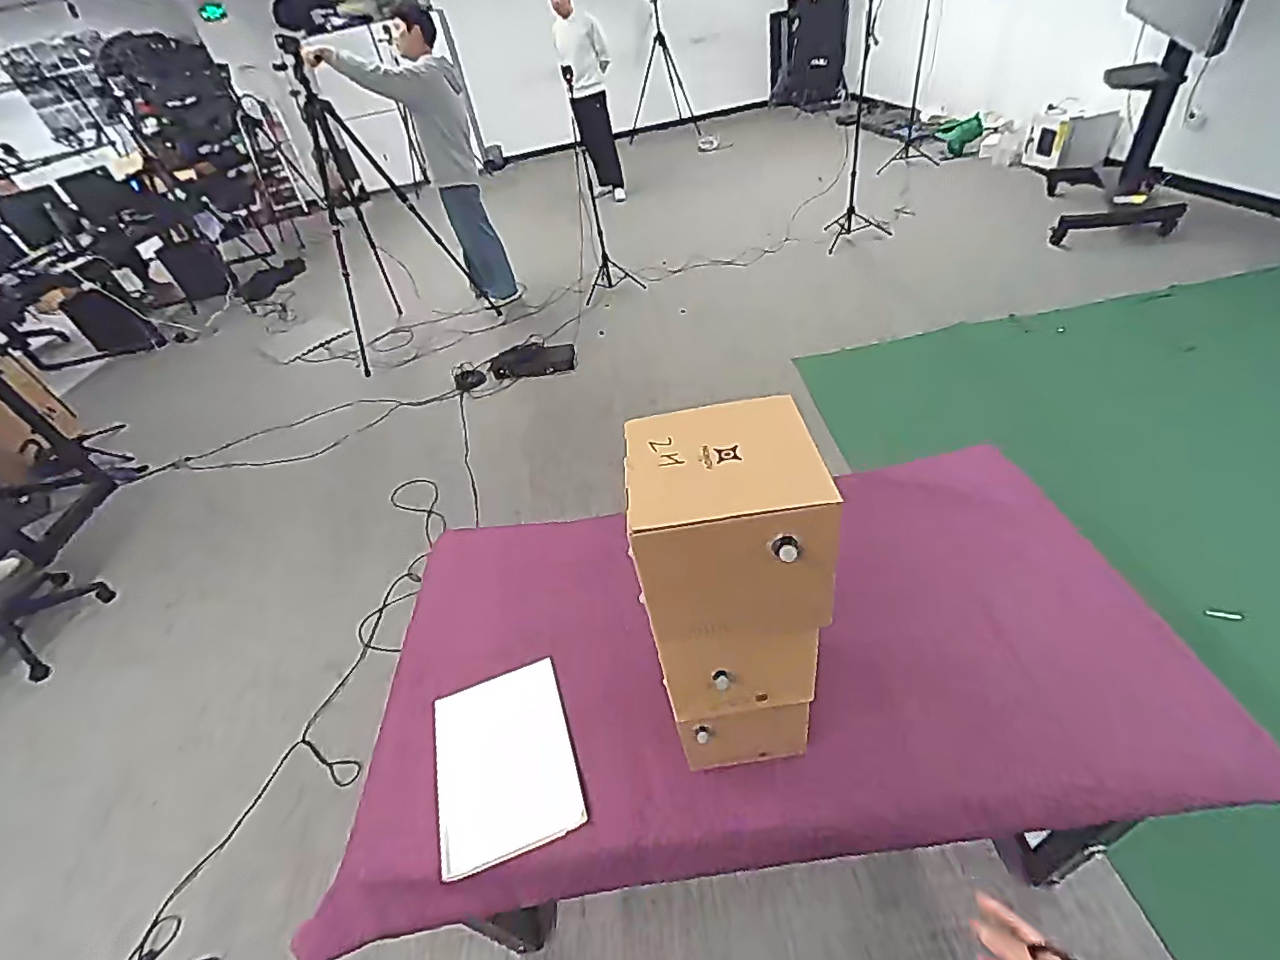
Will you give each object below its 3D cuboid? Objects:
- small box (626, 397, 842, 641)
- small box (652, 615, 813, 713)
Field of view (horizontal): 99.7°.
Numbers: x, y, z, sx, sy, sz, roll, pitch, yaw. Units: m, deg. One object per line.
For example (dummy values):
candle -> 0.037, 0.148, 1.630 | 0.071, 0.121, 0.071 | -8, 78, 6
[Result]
small box -> 0.086, 0.040, 0.545 | 0.179, 0.176, 0.168 | -9, 39, 5
small box -> 0.103, 0.162, 0.656 | 0.168, 0.176, 0.179 | -10, 39, 3
